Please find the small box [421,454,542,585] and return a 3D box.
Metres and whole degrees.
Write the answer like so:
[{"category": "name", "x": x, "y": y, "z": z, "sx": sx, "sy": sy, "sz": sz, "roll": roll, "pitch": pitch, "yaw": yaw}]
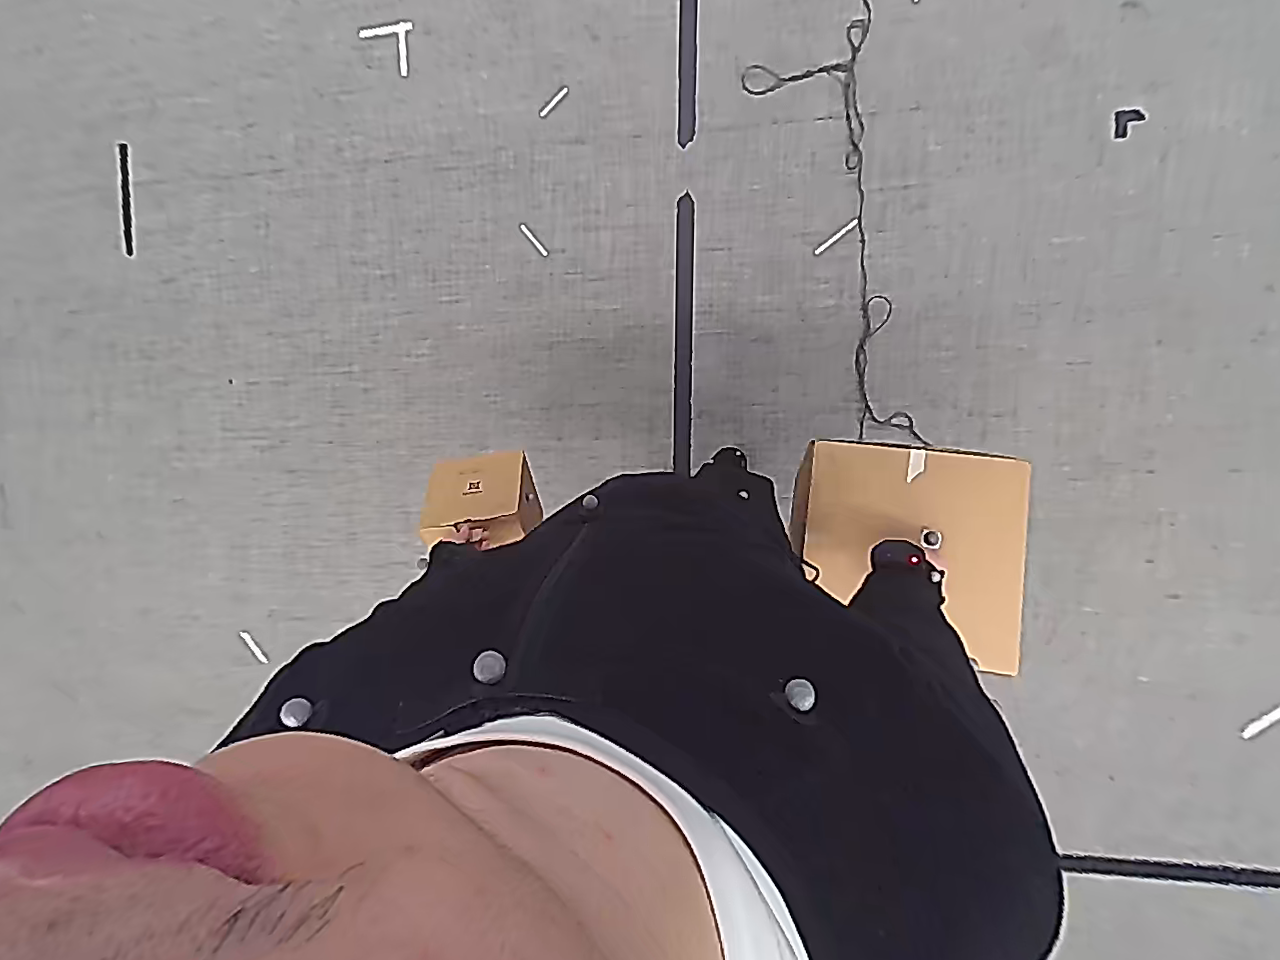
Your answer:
[{"category": "small box", "x": -0.281, "y": 0.078, "z": 1.003, "sx": 0.168, "sy": 0.179, "sz": 0.176, "roll": -9, "pitch": 129, "yaw": -1}]
